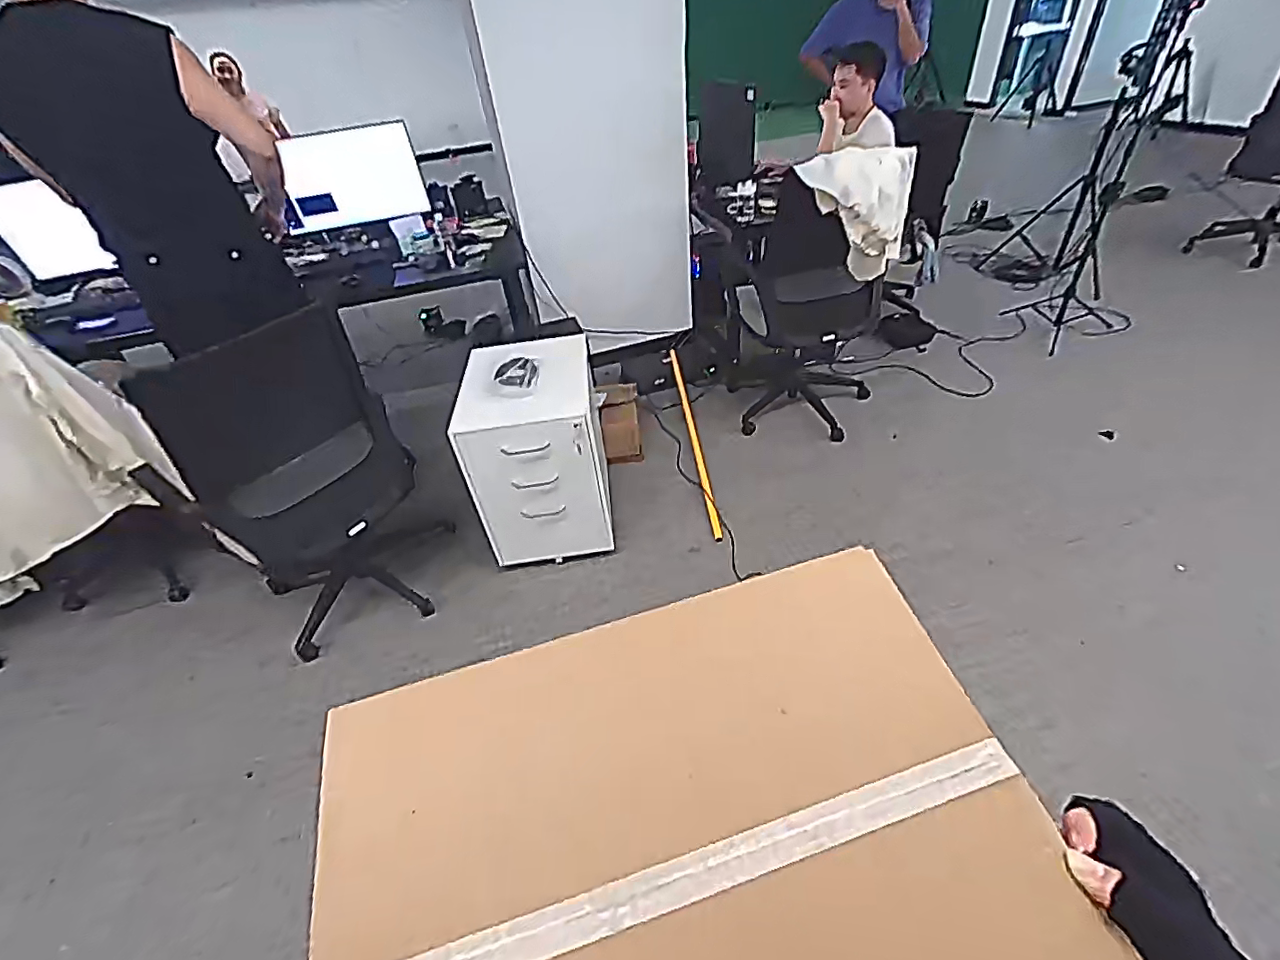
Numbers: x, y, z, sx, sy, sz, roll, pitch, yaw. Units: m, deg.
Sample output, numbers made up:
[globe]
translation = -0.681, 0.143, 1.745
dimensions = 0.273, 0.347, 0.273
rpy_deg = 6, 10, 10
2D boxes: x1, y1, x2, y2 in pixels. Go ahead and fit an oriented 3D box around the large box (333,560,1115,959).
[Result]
[large box]
translation = 0.039, 0.319, 0.426
dimensions = 0.408, 0.320, 0.320
rpy_deg = -16, 52, -7
